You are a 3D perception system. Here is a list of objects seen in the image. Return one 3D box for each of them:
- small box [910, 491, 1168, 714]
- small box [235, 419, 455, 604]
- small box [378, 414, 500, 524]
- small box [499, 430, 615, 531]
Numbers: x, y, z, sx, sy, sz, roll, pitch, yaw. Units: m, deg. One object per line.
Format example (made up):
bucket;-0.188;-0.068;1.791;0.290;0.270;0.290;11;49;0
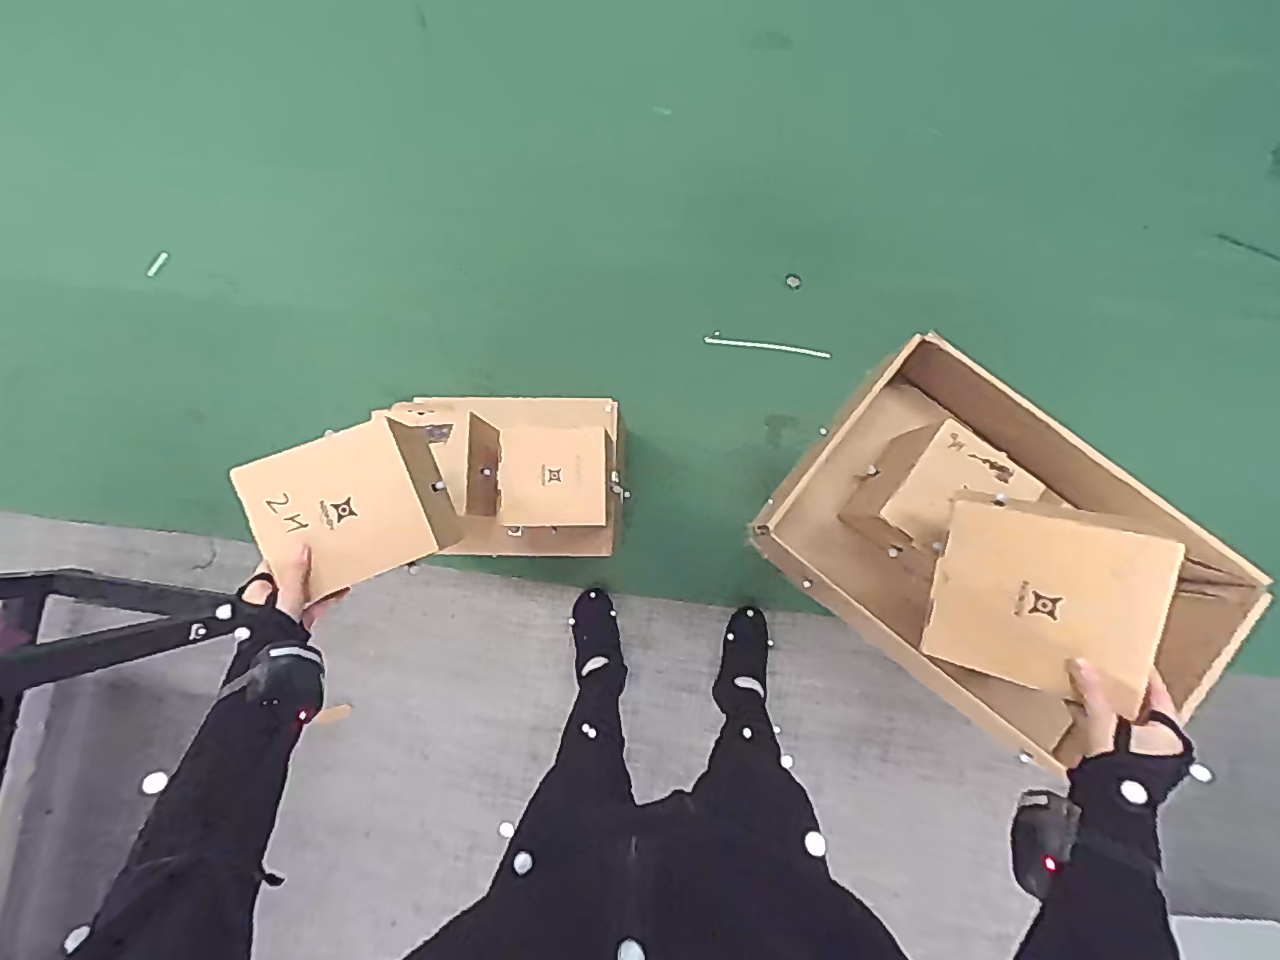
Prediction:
small box;0.406;0.108;0.575;0.179;0.176;0.168;11;99;33
small box;-0.348;0.036;0.683;0.179;0.176;0.168;-21;90;-8
small box;-0.357;-0.013;0.970;0.168;0.176;0.179;1;84;2
small box;-0.139;0.006;0.962;0.179;0.176;0.168;0;86;1
